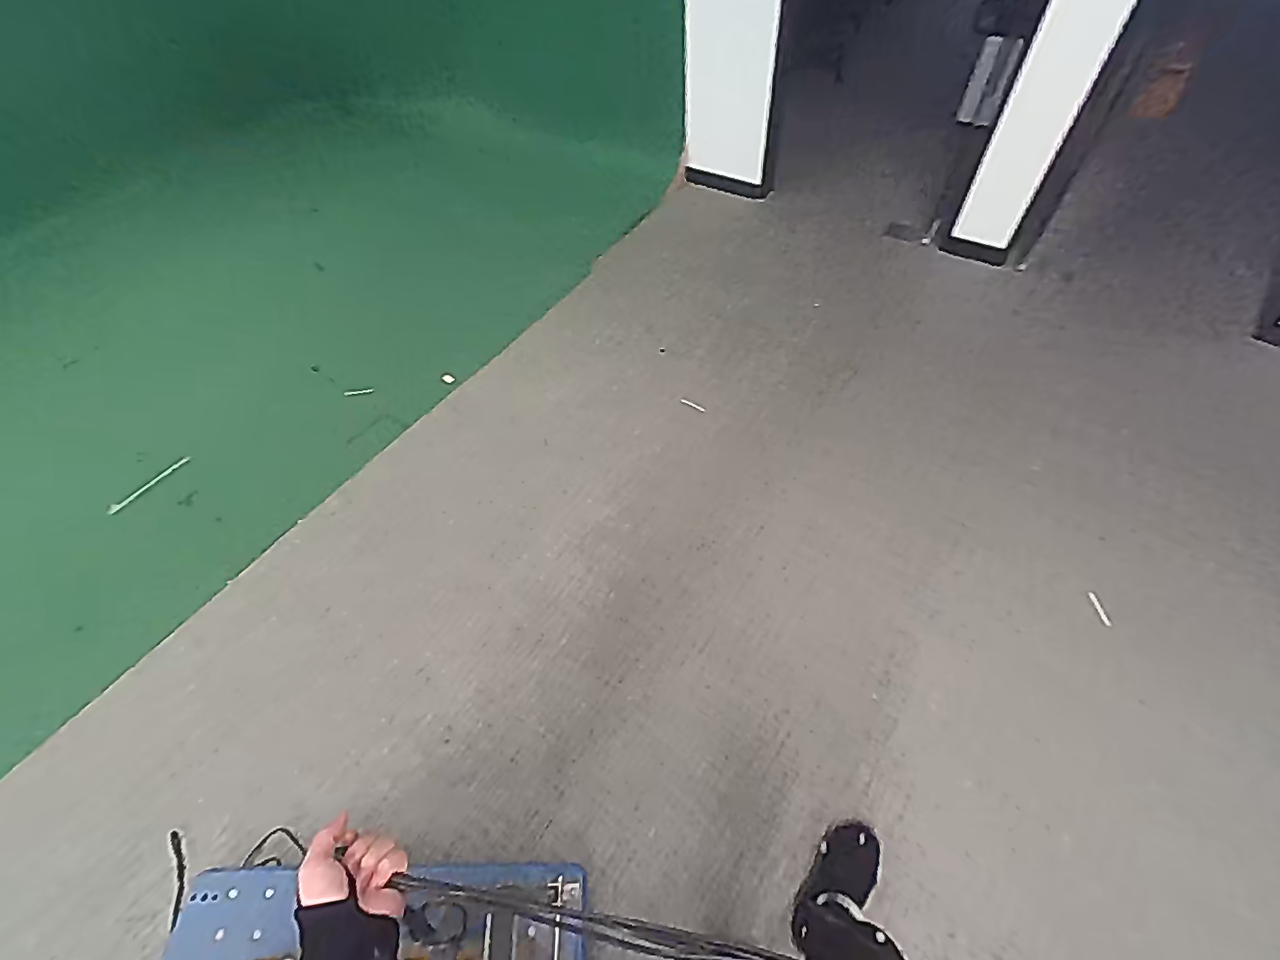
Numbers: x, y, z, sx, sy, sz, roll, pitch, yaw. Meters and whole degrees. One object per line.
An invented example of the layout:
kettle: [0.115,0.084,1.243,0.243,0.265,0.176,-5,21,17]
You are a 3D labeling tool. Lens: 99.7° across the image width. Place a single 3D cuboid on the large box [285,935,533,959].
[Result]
large box: [-0.414,0.971,0.886,0.408,0.320,0.320,-4,54,3]
